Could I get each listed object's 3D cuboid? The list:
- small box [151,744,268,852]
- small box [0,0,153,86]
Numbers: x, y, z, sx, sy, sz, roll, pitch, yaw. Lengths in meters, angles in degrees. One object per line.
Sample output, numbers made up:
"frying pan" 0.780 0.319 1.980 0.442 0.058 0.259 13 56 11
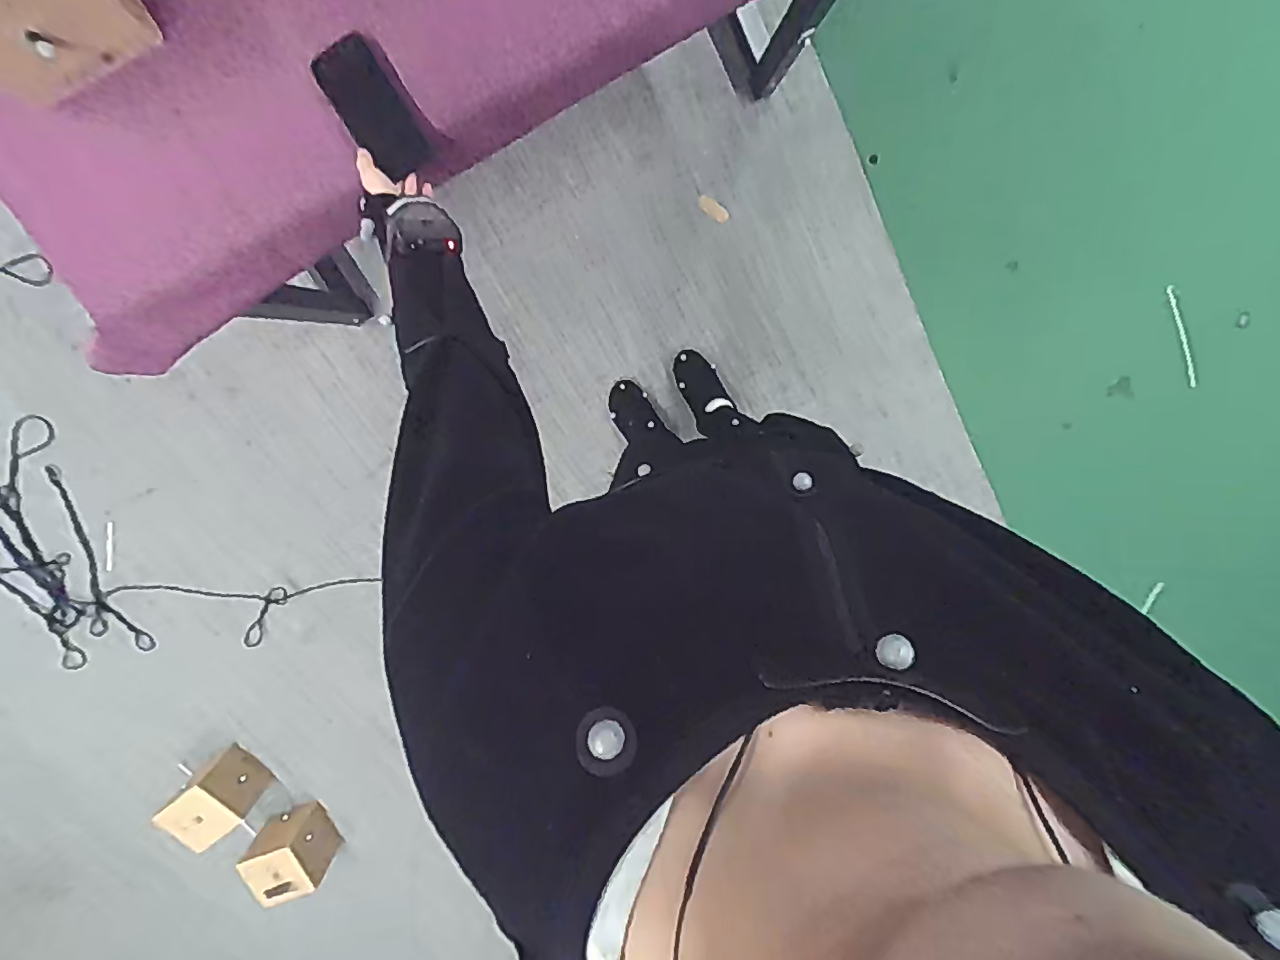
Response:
"small box" -1.224 0.910 1.561 0.179 0.176 0.168 -36 104 5
"small box" -0.634 -0.515 0.507 0.168 0.176 0.179 -27 105 2
